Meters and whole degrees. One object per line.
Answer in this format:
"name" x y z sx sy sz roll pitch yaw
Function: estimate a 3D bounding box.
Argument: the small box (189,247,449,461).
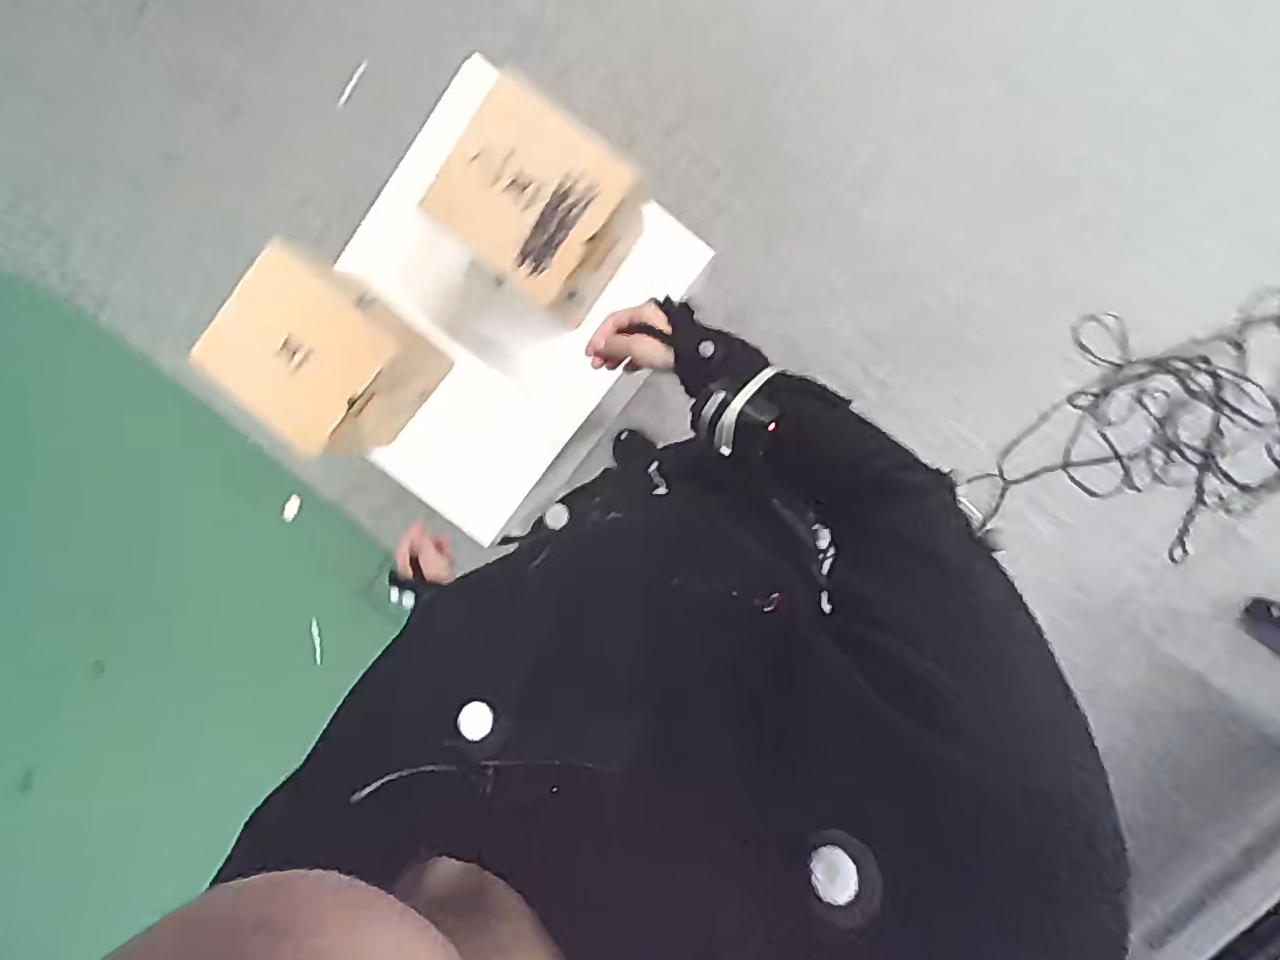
"small box" -0.375 -0.143 0.666 0.179 0.176 0.168 41 97 -4
